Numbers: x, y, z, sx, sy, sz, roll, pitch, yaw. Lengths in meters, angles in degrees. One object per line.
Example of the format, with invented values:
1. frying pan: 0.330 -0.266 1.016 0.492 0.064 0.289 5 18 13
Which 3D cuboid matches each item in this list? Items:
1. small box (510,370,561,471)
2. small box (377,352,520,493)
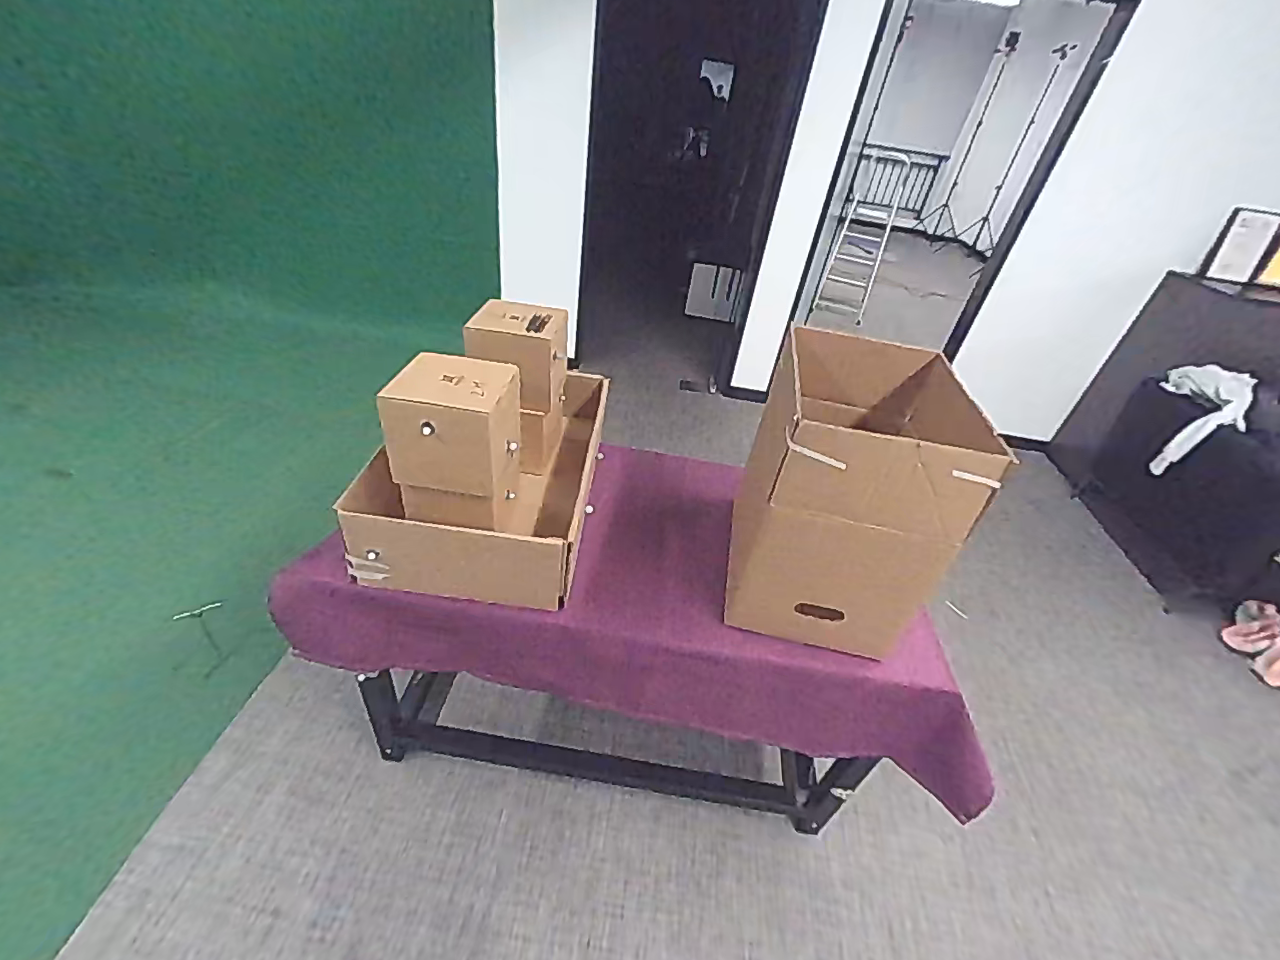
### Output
1. small box: -0.282 -0.140 1.257 0.168 0.176 0.179 9 38 1
2. small box: -0.312 -0.097 0.921 0.179 0.176 0.168 9 38 1
